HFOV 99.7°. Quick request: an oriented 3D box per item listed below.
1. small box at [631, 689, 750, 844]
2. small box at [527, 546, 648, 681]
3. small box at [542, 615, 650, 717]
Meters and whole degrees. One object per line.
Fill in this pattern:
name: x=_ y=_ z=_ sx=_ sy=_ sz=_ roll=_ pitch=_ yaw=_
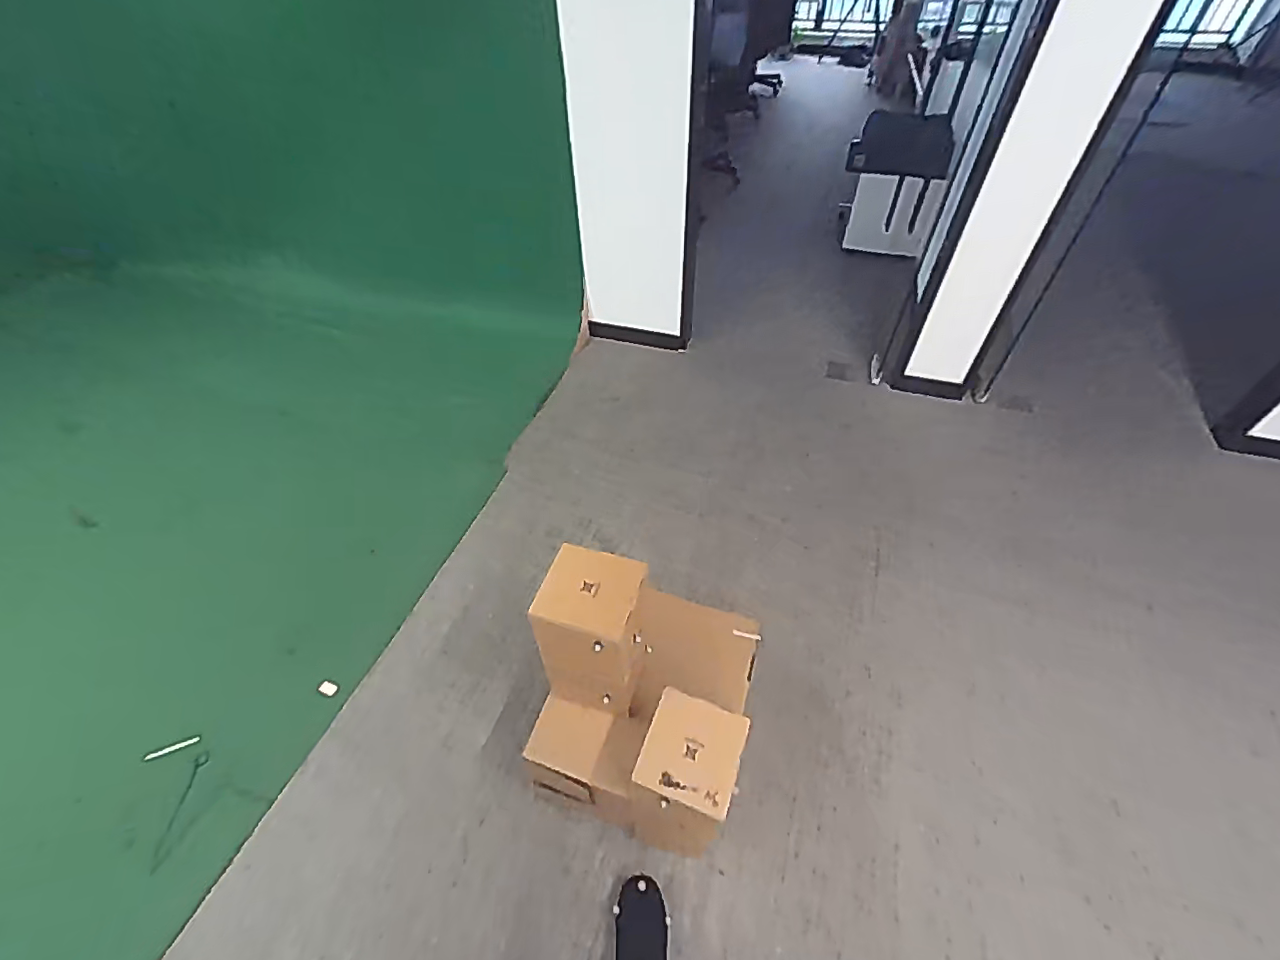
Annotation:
small box: x=0.088 y=0.525 z=0.992 sx=0.168 sy=0.176 sz=0.179 roll=17 pitch=48 yaw=16
small box: x=-0.091 y=0.257 z=1.030 sx=0.179 sy=0.176 sz=0.168 roll=13 pitch=46 yaw=12
small box: x=-0.085 y=0.375 z=1.142 sx=0.179 sy=0.176 sz=0.168 roll=12 pitch=46 yaw=13
